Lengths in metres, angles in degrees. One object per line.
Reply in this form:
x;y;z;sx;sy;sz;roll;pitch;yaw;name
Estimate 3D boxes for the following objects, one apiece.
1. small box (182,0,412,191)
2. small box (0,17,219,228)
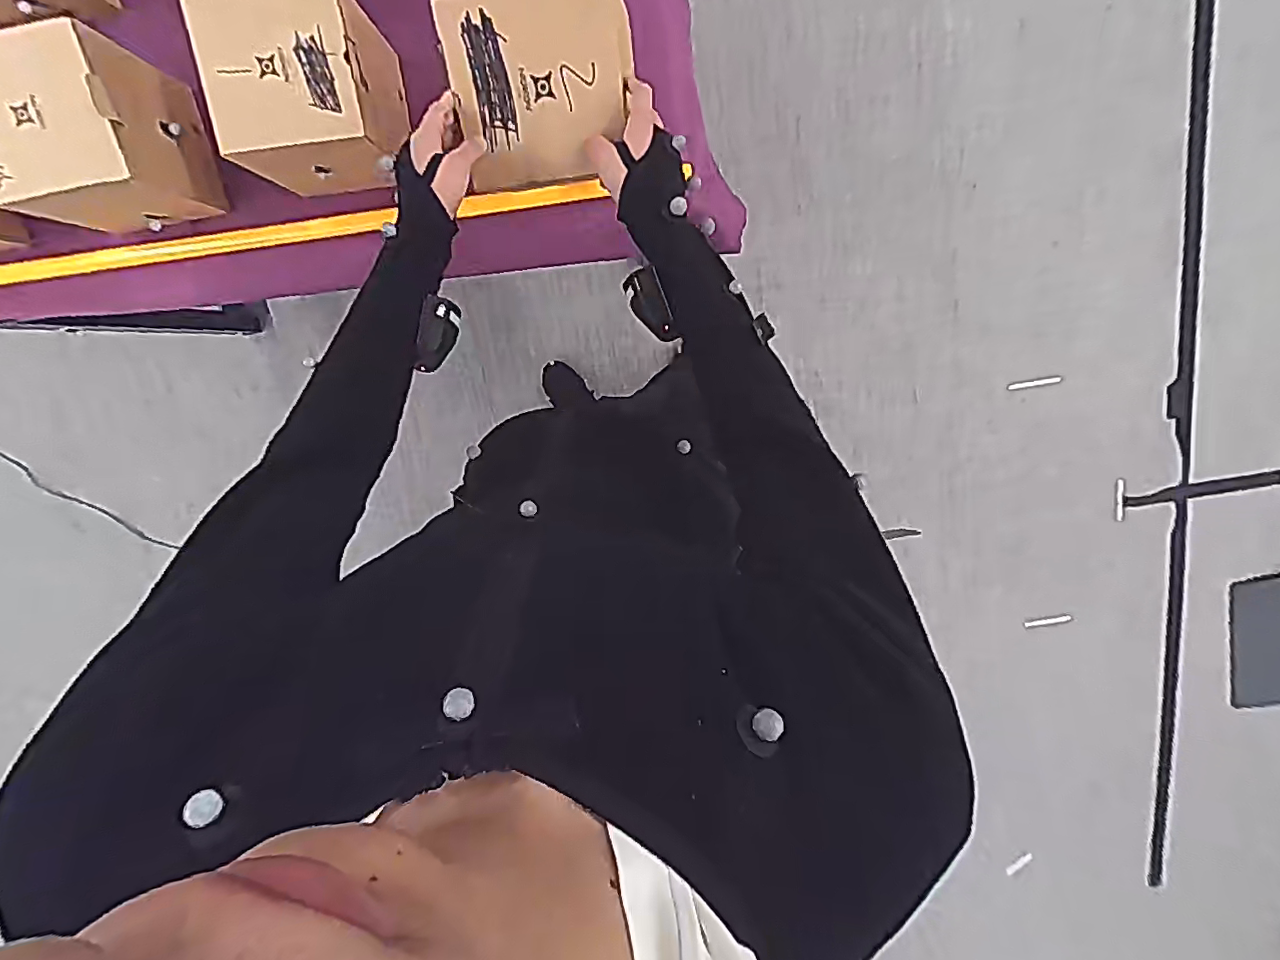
-0.411;-0.486;0.686;0.179;0.176;0.168;-6;102;2;small box
-0.692;-0.439;0.693;0.179;0.176;0.168;-10;104;0;small box
